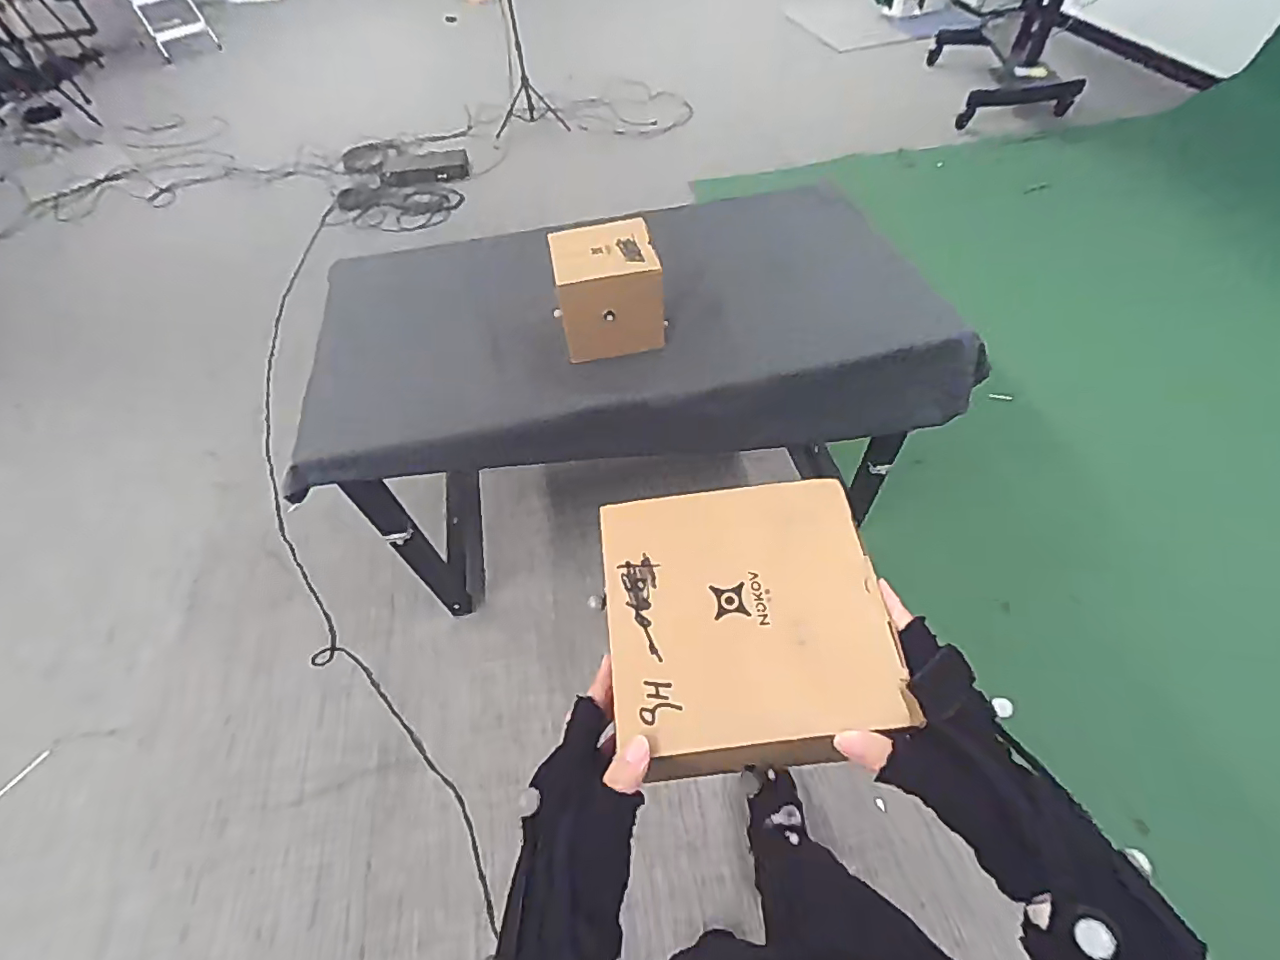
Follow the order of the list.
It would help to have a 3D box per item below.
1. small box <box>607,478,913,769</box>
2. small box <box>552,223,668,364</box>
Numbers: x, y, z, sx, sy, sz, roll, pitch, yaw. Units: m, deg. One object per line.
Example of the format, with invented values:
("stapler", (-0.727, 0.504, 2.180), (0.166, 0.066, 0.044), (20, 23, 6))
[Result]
("small box", (0.070, 0.118, 0.422), (0.179, 0.176, 0.168), (-6, 55, -2))
("small box", (-0.054, -0.338, 0.989), (0.179, 0.176, 0.168), (-12, 54, -6))
